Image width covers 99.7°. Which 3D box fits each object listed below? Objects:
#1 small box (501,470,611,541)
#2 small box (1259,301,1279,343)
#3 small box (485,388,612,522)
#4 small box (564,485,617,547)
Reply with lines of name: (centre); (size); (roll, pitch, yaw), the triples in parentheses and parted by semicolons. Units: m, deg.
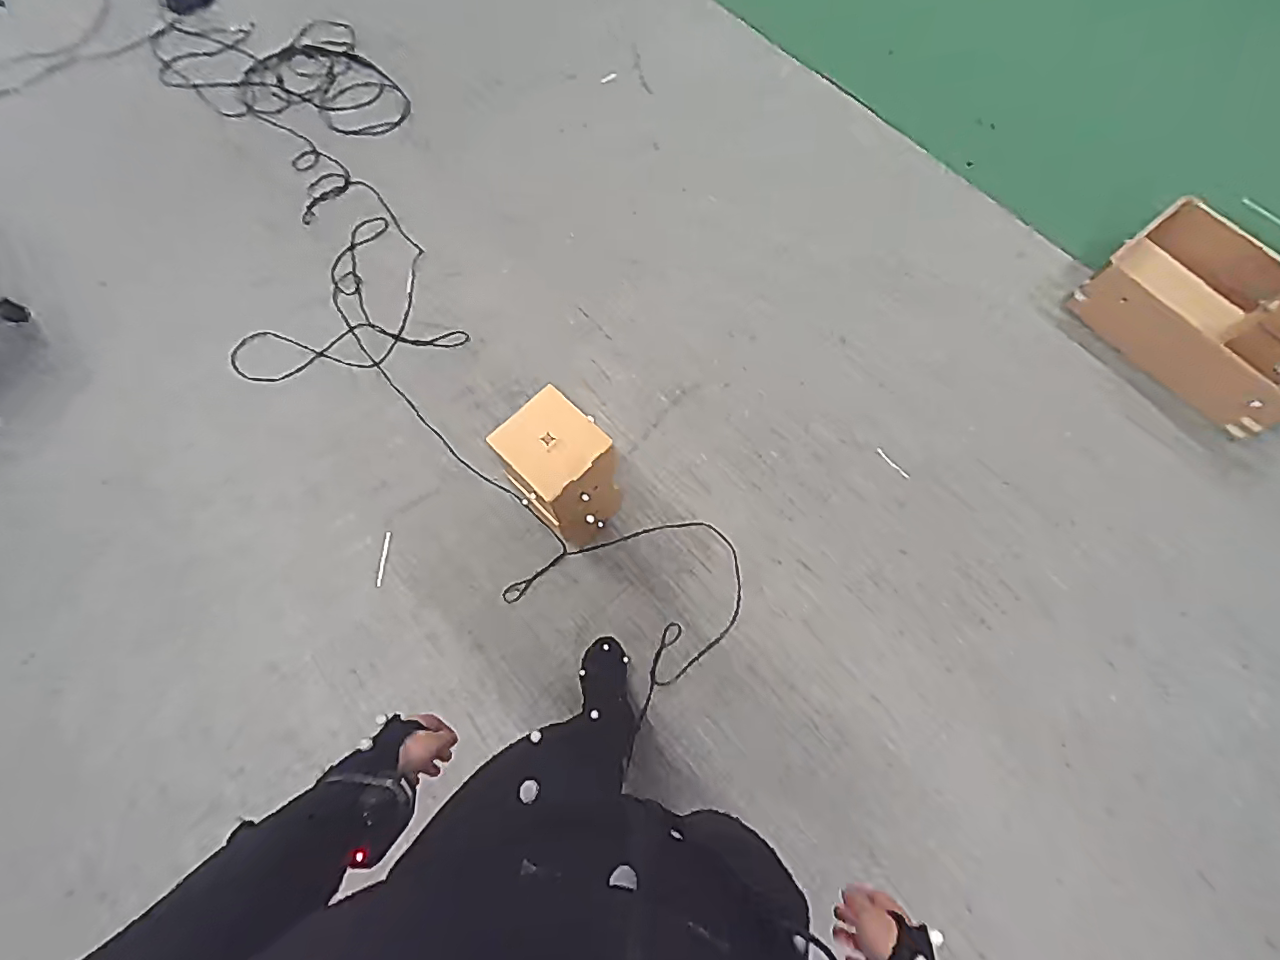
small box: (-0.181, 0.014, 1.222); (0.179, 0.176, 0.168); (43, 76, 13)
small box: (1.724, -0.426, 1.335); (0.179, 0.176, 0.168); (-36, 74, -10)
small box: (-0.172, -0.041, 1.069); (0.179, 0.176, 0.168); (42, 76, 12)
small box: (-0.172, 0.054, 1.381); (0.179, 0.176, 0.168); (39, 74, 13)
